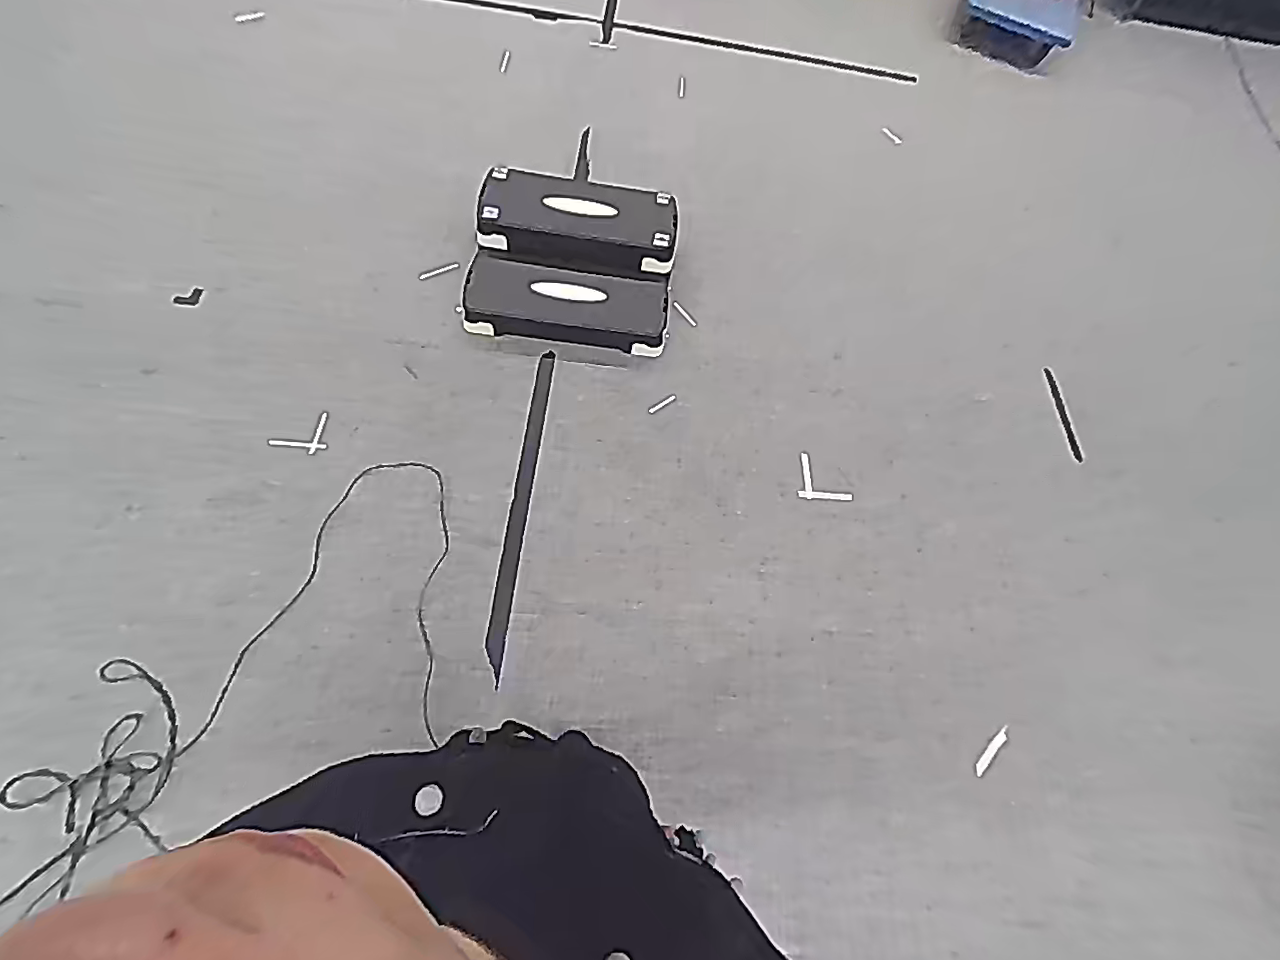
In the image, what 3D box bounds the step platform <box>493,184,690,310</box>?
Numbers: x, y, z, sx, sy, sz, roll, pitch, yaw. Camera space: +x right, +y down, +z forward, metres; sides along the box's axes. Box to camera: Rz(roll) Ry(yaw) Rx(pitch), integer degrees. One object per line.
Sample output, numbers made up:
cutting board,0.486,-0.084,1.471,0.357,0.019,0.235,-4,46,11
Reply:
step platform,-0.166,-0.827,1.922,0.684,0.204,0.286,11,63,-3
